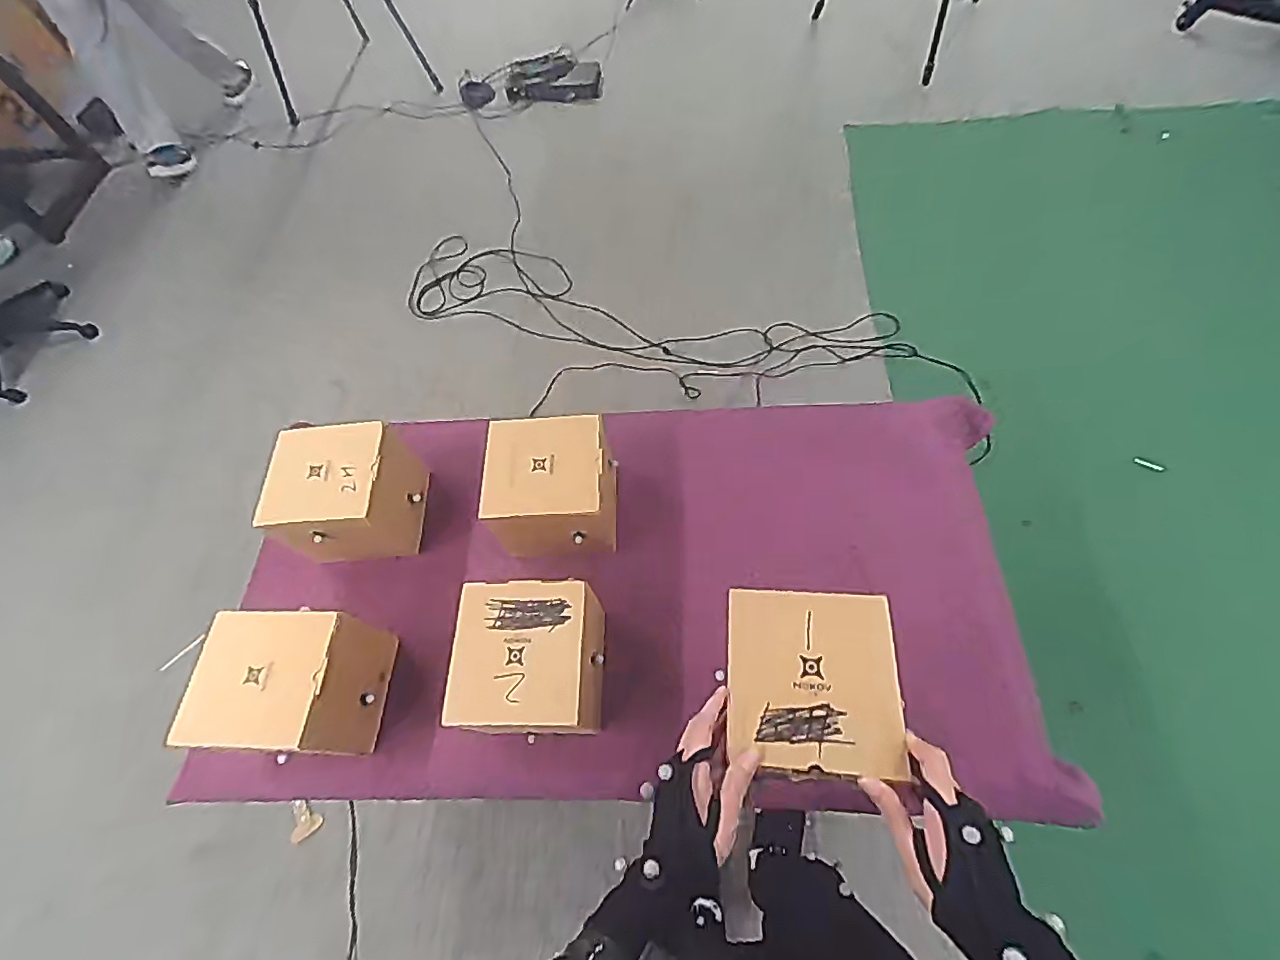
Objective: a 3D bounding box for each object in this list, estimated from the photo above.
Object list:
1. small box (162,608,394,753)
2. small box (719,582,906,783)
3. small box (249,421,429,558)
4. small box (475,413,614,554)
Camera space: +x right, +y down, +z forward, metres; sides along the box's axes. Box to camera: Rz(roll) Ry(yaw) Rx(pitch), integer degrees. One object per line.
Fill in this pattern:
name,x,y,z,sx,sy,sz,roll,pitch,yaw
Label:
small box,-0.479,0.281,0.748,0.179,0.176,0.168,-1,62,5
small box,0.177,0.227,0.596,0.168,0.176,0.179,0,59,11
small box,-0.473,0.022,0.878,0.179,0.176,0.168,-4,64,4
small box,-0.136,0.012,0.849,0.179,0.176,0.168,-3,63,6
